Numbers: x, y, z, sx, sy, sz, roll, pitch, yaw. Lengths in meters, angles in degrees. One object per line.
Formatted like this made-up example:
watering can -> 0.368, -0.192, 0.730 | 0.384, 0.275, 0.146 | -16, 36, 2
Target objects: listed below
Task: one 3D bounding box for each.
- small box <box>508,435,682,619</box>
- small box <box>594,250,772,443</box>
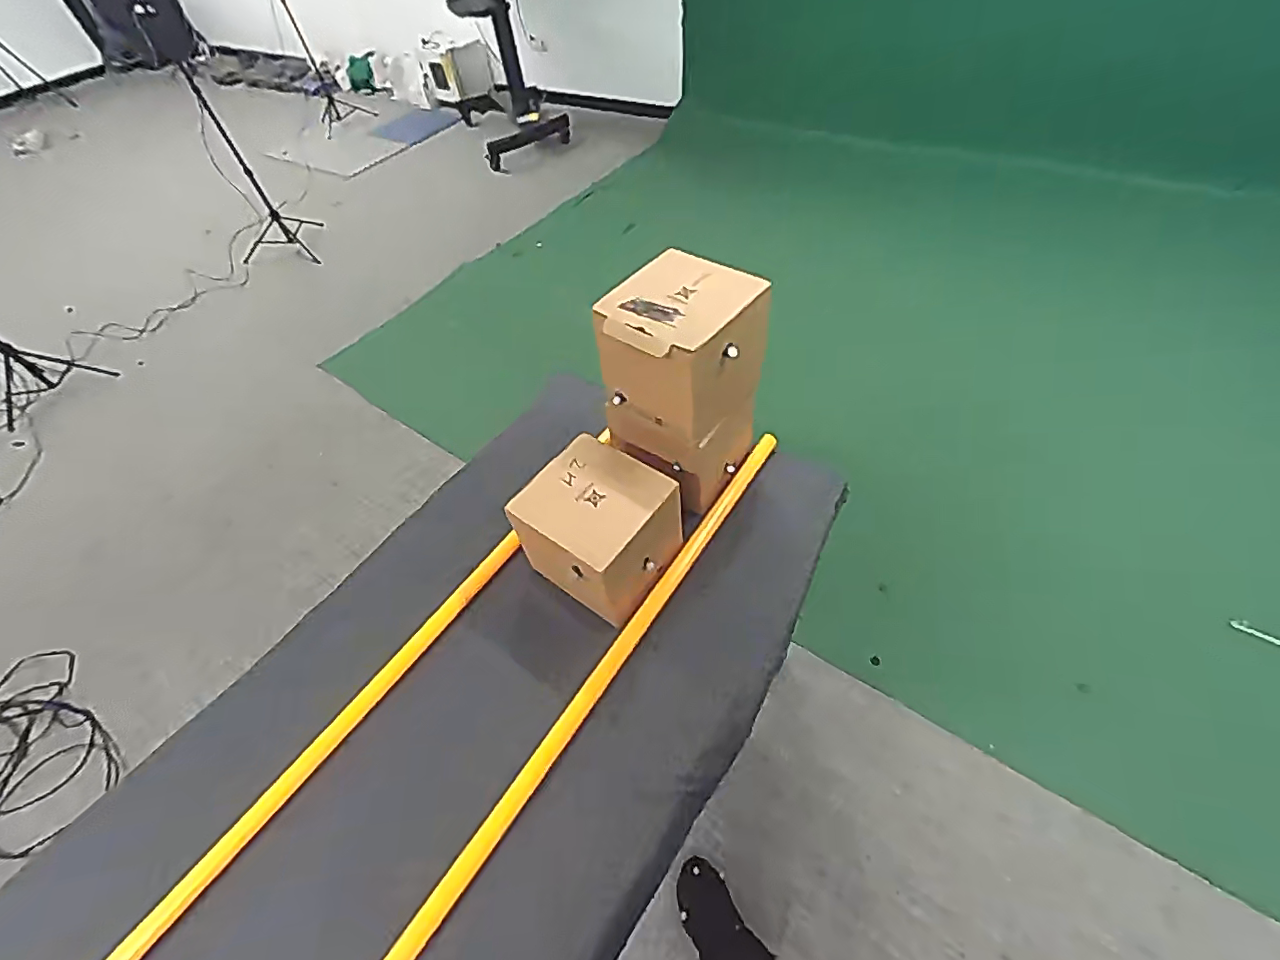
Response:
small box -> -0.052, 0.074, 0.774 | 0.179, 0.176, 0.168 | 29, 60, 26
small box -> 0.064, -0.183, 0.752 | 0.168, 0.176, 0.179 | 31, 61, 26
